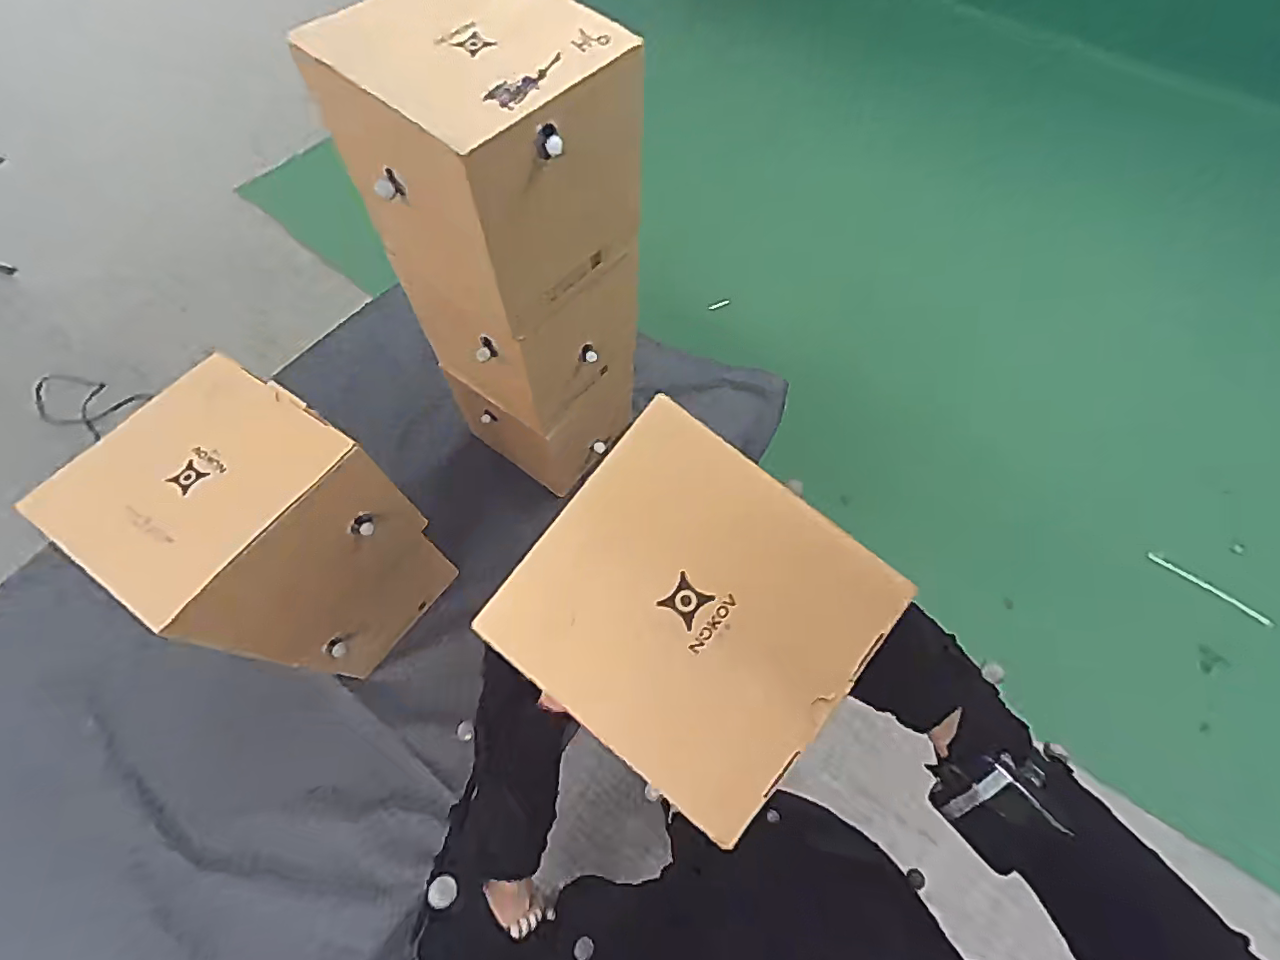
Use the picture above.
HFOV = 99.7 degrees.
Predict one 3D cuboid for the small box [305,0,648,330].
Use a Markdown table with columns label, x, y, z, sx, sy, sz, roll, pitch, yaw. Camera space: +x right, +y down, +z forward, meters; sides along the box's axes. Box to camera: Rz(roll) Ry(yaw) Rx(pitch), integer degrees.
| label | x | y | z | sx | sy | sz | roll | pitch | yaw |
| --- | --- | --- | --- | --- | --- | --- | --- | --- | --- |
| small box | -0.112 | -0.257 | 0.438 | 0.179 | 0.176 | 0.168 | 38 | 70 | 16 |

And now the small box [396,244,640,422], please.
| label | x | y | z | sx | sy | sz | roll | pitch | yaw |
| --- | --- | --- | --- | --- | --- | --- | --- | --- | --- |
| small box | -0.116 | -0.187 | 0.587 | 0.179 | 0.176 | 0.168 | 36 | 69 | 15 |

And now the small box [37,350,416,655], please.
| label | x | y | z | sx | sy | sz | roll | pitch | yaw |
| --- | --- | --- | --- | --- | --- | --- | --- | --- | --- |
| small box | -0.328 | 0.028 | 0.478 | 0.168 | 0.176 | 0.179 | 31 | 68 | 14 |

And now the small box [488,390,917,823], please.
| label | x | y | z | sx | sy | sz | roll | pitch | yaw |
| --- | --- | --- | --- | --- | --- | --- | --- | --- | --- |
| small box | 0.034 | 0.074 | 0.370 | 0.179 | 0.176 | 0.168 | 38 | 84 | 6 |
